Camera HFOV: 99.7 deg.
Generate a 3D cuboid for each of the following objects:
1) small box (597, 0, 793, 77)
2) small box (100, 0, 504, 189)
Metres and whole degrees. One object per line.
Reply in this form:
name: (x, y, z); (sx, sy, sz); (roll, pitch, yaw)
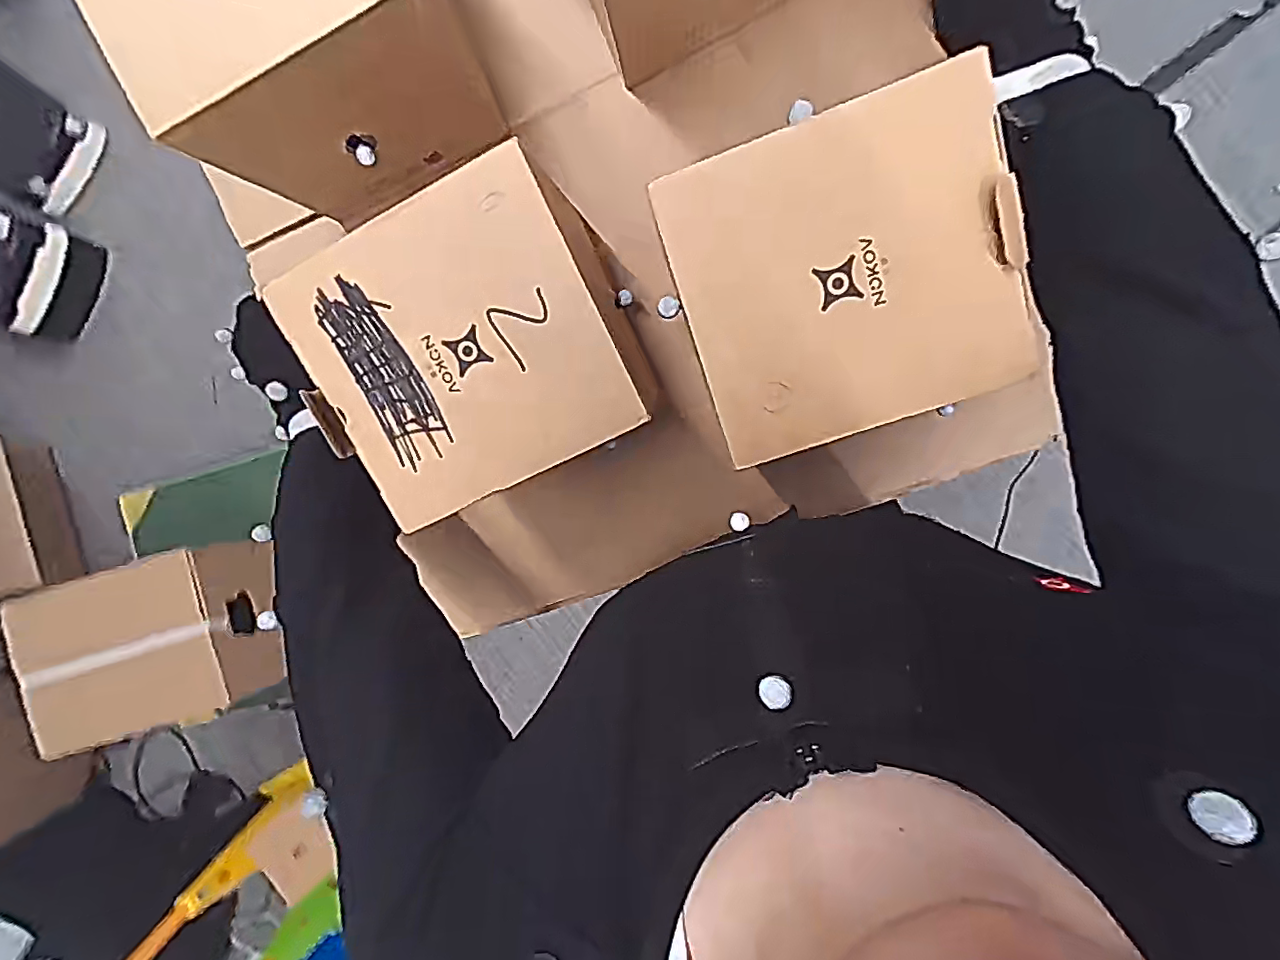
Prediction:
small box: (0.034, -0.392, 0.313); (0.179, 0.176, 0.168); (-21, 98, 10)
small box: (-0.213, -0.319, 0.353); (0.168, 0.176, 0.179); (-20, 98, 9)
